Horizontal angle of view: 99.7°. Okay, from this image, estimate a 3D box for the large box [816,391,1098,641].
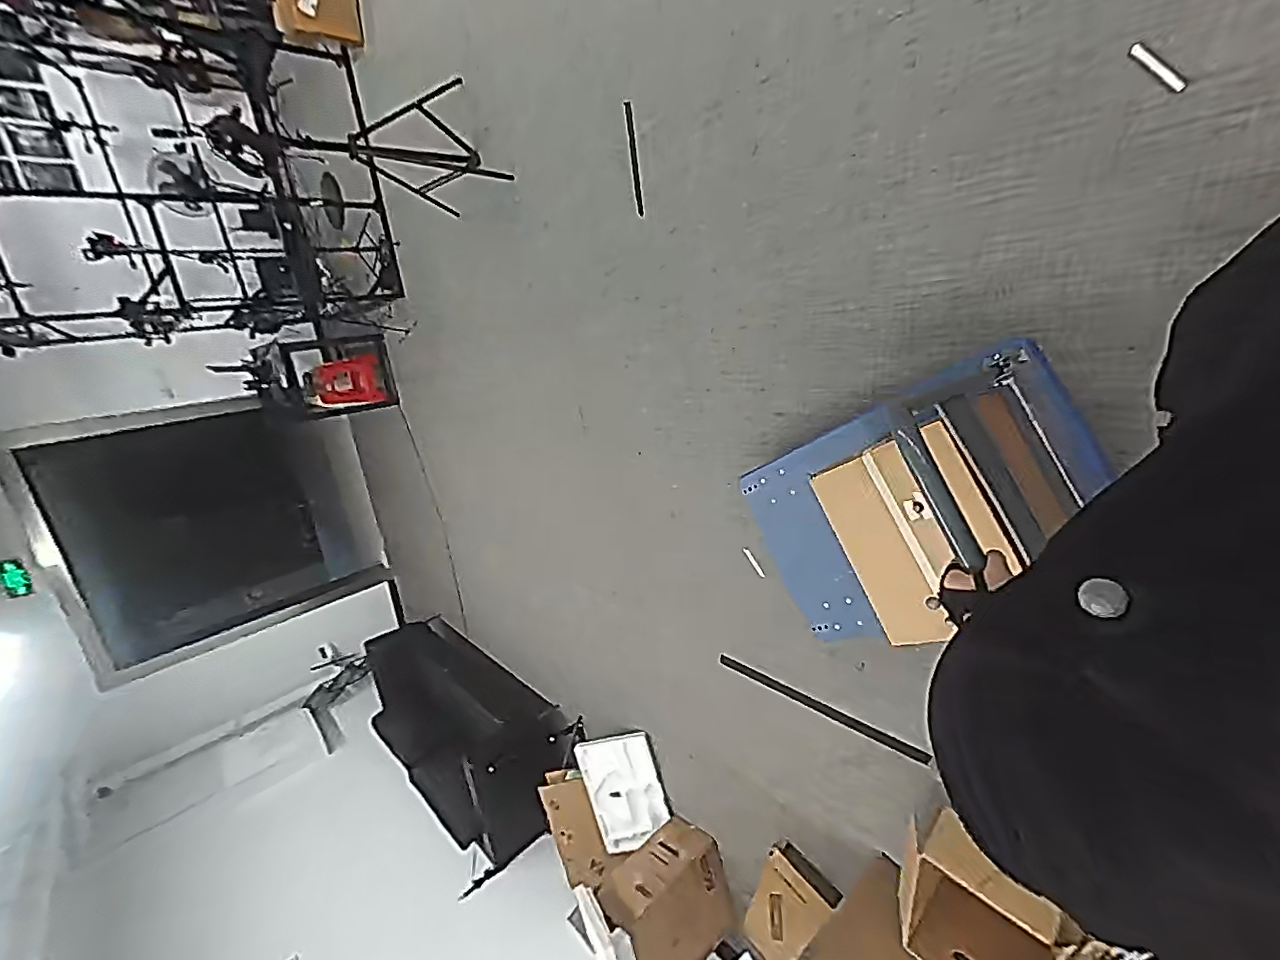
[{"bbox_3d":[0.663,0.076,1.148,0.320,0.320,0.408,-33,79,50],"label":"large box"}]
